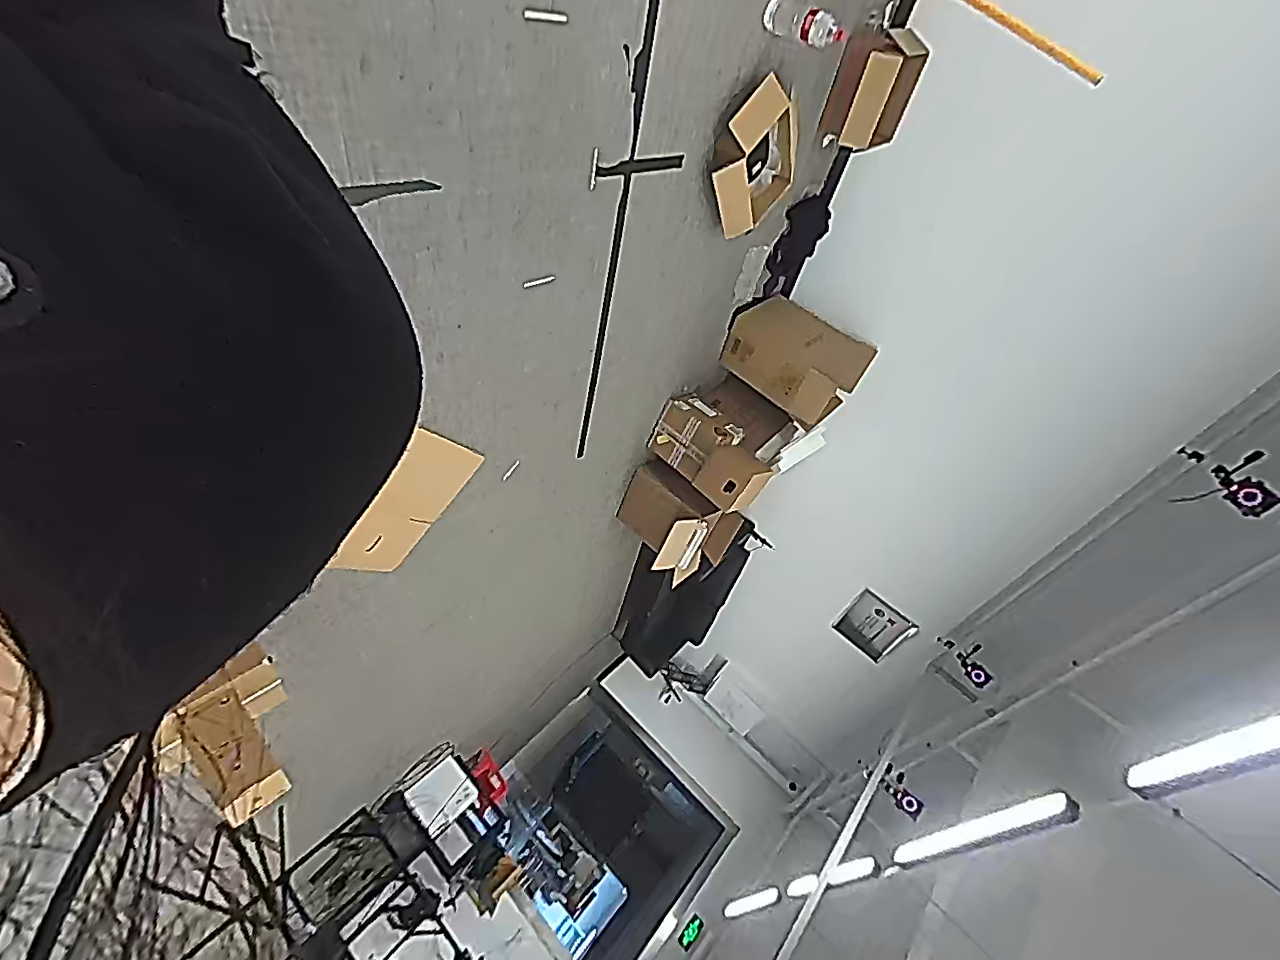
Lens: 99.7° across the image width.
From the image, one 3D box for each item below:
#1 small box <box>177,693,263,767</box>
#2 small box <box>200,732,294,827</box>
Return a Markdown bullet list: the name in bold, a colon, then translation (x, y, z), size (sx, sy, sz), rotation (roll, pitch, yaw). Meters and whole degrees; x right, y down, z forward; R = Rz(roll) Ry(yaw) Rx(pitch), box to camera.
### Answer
- **small box**: translation (-1.327, 0.813, 1.721), size (0.168, 0.176, 0.179), rotation (-30, 151, -43)
- **small box**: translation (-1.211, 0.917, 1.667), size (0.168, 0.176, 0.179), rotation (-31, 150, -40)
